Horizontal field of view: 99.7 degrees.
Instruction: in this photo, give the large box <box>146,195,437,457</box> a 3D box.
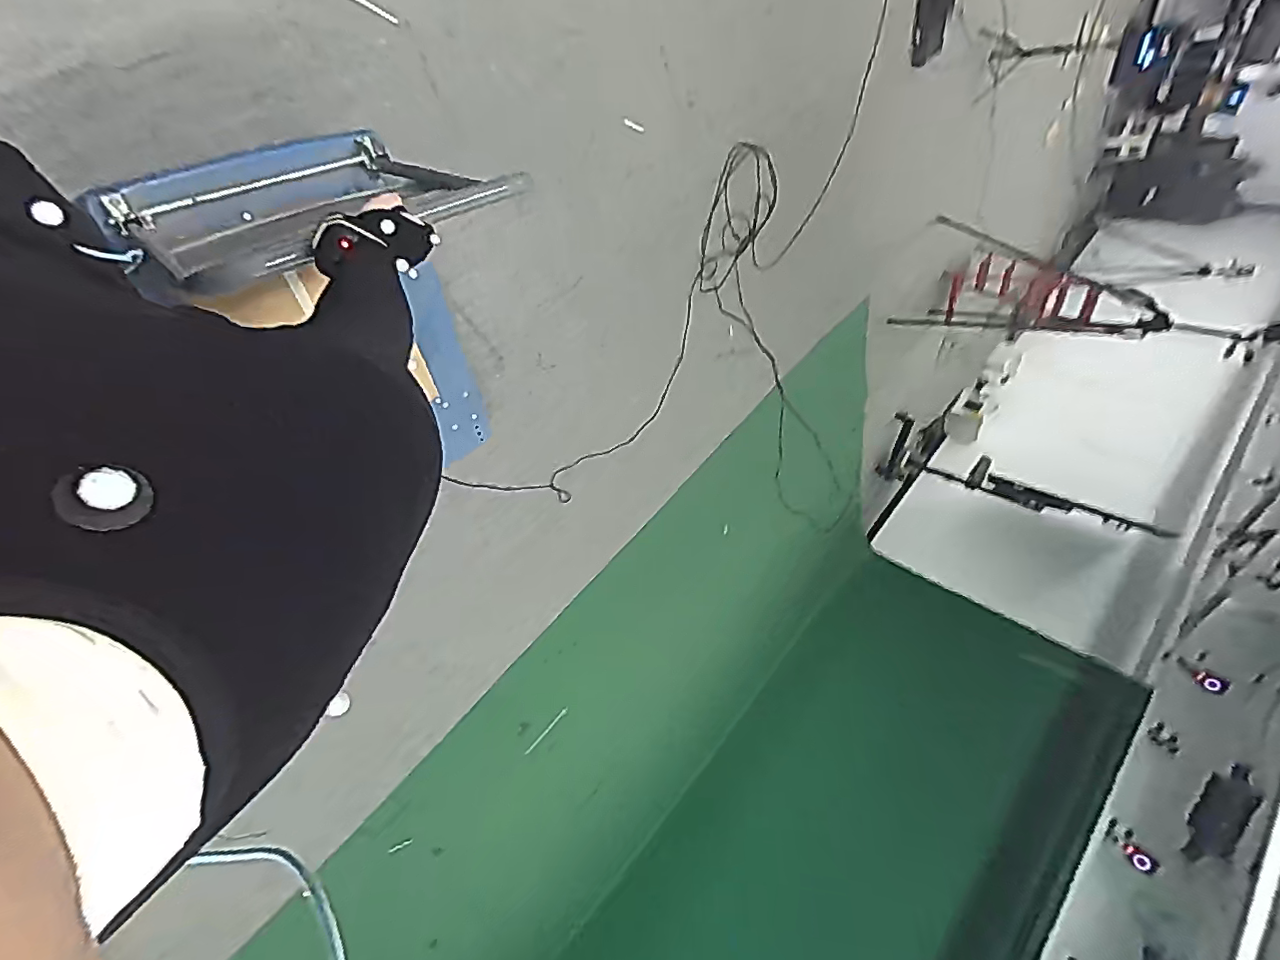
[{"bbox_3d":[-0.710,-0.331,1.143,0.320,0.320,0.408,-37,138,-27],"label":"large box"}]
